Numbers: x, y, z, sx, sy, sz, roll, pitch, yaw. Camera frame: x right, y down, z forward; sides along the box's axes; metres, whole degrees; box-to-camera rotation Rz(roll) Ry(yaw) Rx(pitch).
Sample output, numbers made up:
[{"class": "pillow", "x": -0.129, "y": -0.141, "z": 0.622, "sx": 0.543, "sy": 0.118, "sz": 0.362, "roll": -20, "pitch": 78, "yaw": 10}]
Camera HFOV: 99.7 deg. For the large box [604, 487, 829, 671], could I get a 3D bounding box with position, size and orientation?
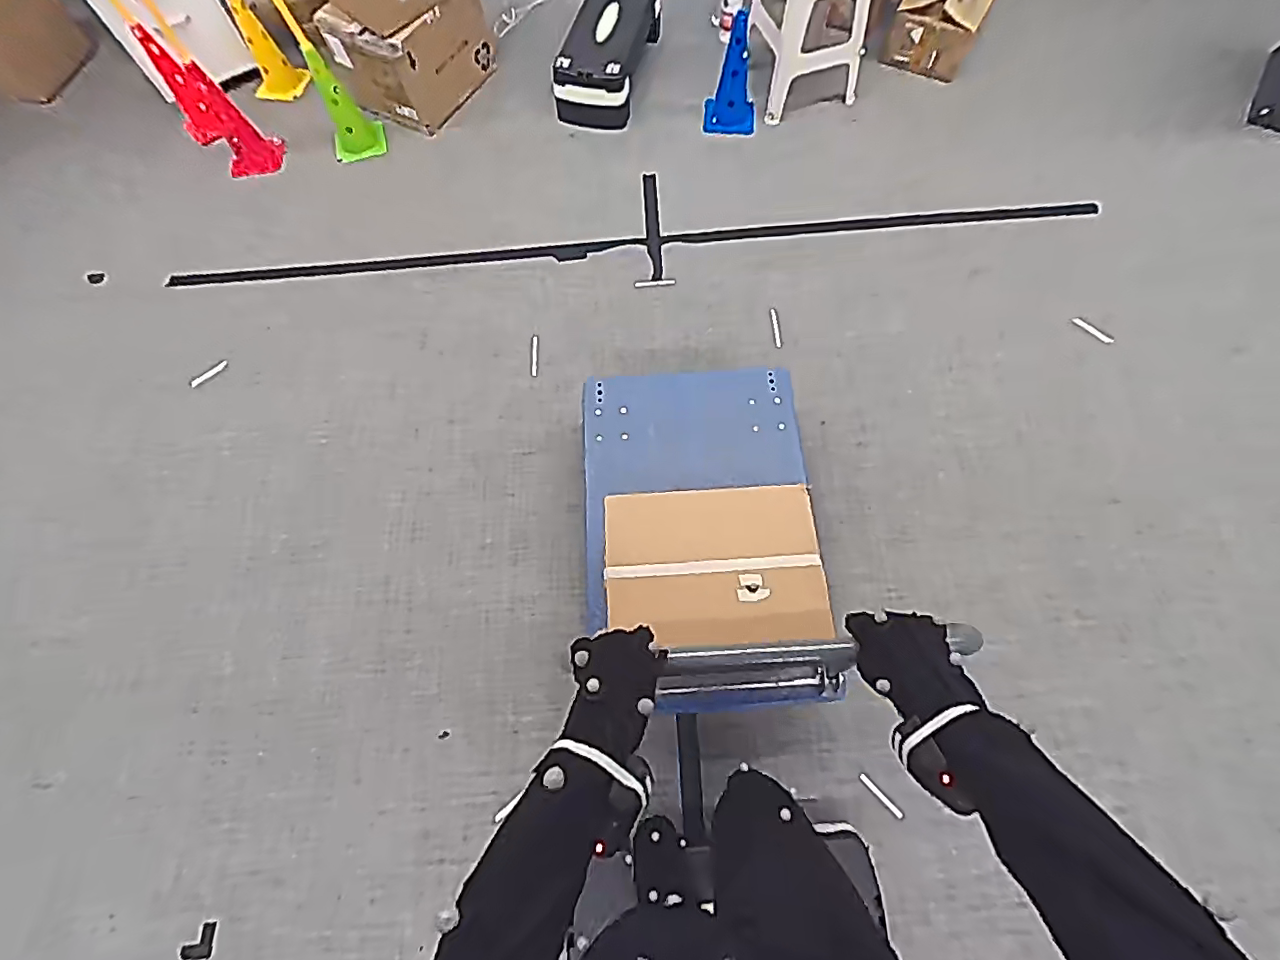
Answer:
[{"class": "large box", "x": 0.138, "y": 0.227, "z": 1.171, "sx": 0.408, "sy": 0.320, "sz": 0.320, "roll": -3, "pitch": 67, "yaw": 0}]
